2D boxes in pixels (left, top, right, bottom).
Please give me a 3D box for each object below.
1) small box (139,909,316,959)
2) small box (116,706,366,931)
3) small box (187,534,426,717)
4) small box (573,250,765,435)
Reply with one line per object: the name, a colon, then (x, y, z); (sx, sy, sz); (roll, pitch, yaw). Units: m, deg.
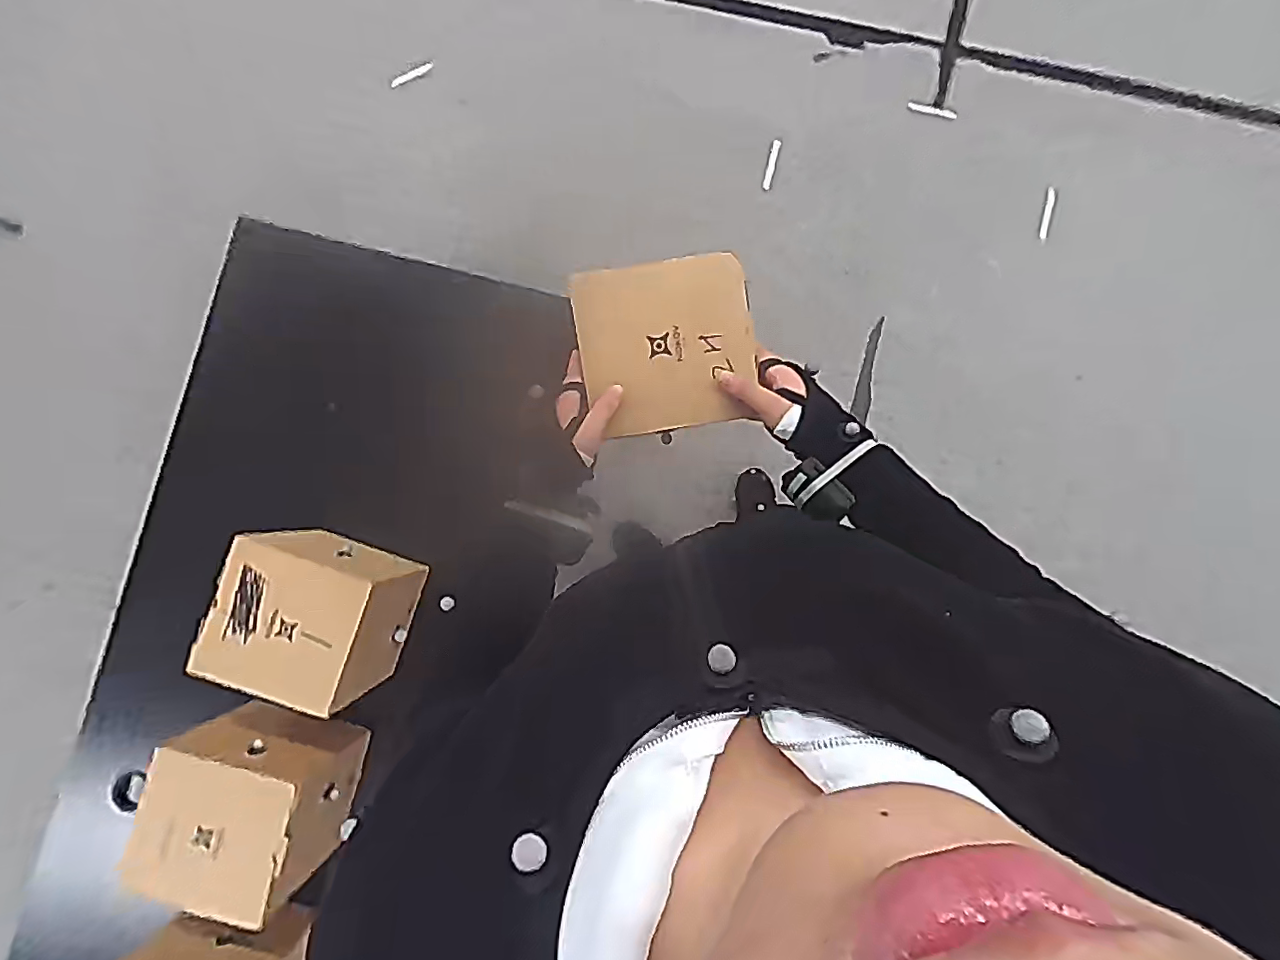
small box: (-0.542, 0.668, 0.674); (0.168, 0.176, 0.179); (12, 86, 1)
small box: (-0.487, 0.412, 0.690); (0.179, 0.176, 0.168); (13, 86, 2)
small box: (-0.413, 0.173, 0.702); (0.179, 0.176, 0.168); (18, 87, 1)
small box: (0.028, -0.142, 0.614); (0.179, 0.176, 0.168); (-9, 96, -2)
